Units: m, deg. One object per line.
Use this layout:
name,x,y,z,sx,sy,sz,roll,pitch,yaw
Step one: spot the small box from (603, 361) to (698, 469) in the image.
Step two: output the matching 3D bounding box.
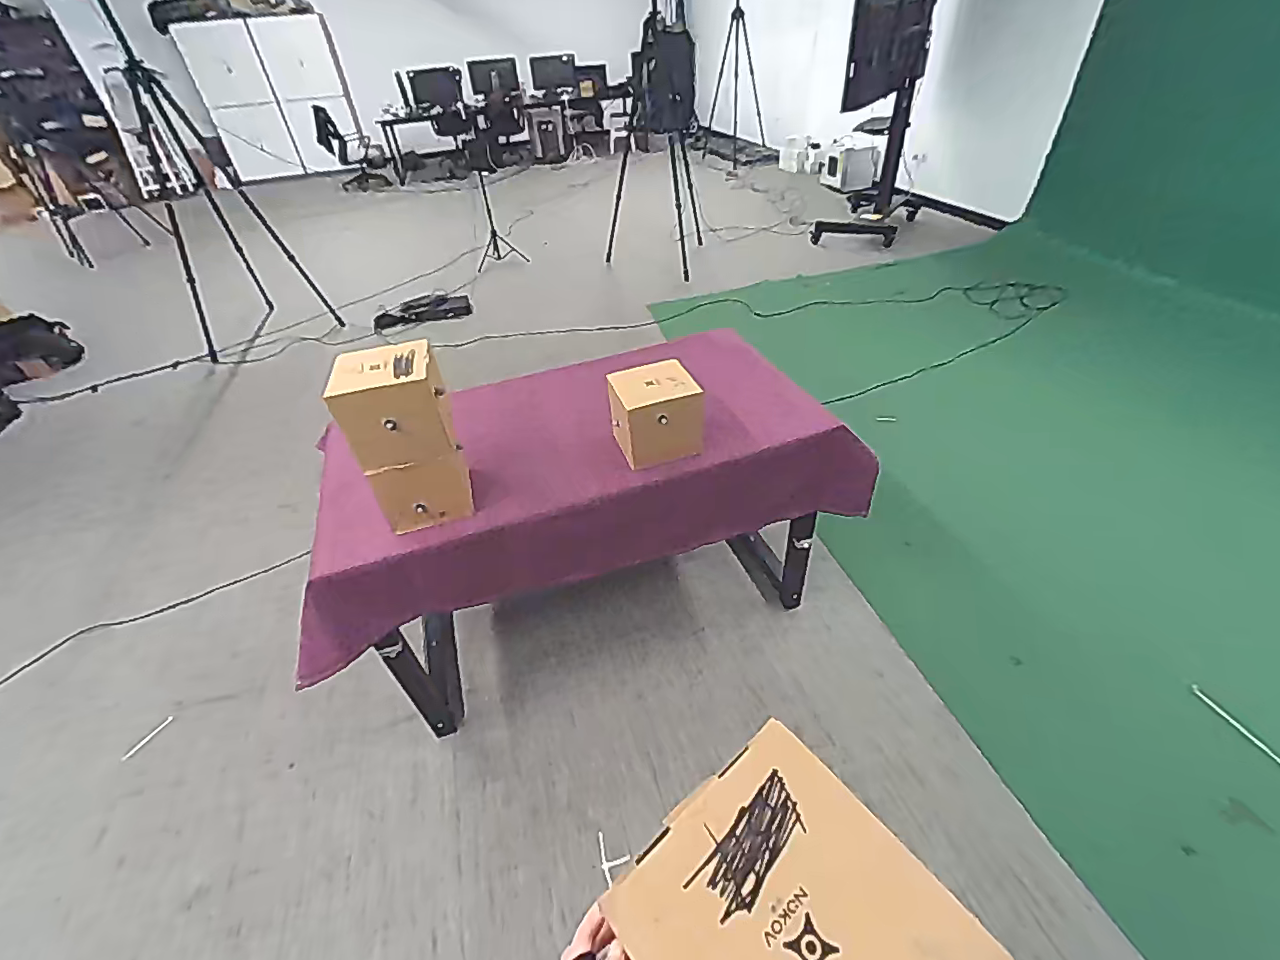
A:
small box,0.028,-0.147,1.245,0.179,0.176,0.168,-15,42,-11

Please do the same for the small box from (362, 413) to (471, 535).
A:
small box,-0.466,-0.014,1.143,0.168,0.176,0.179,-15,42,-12
